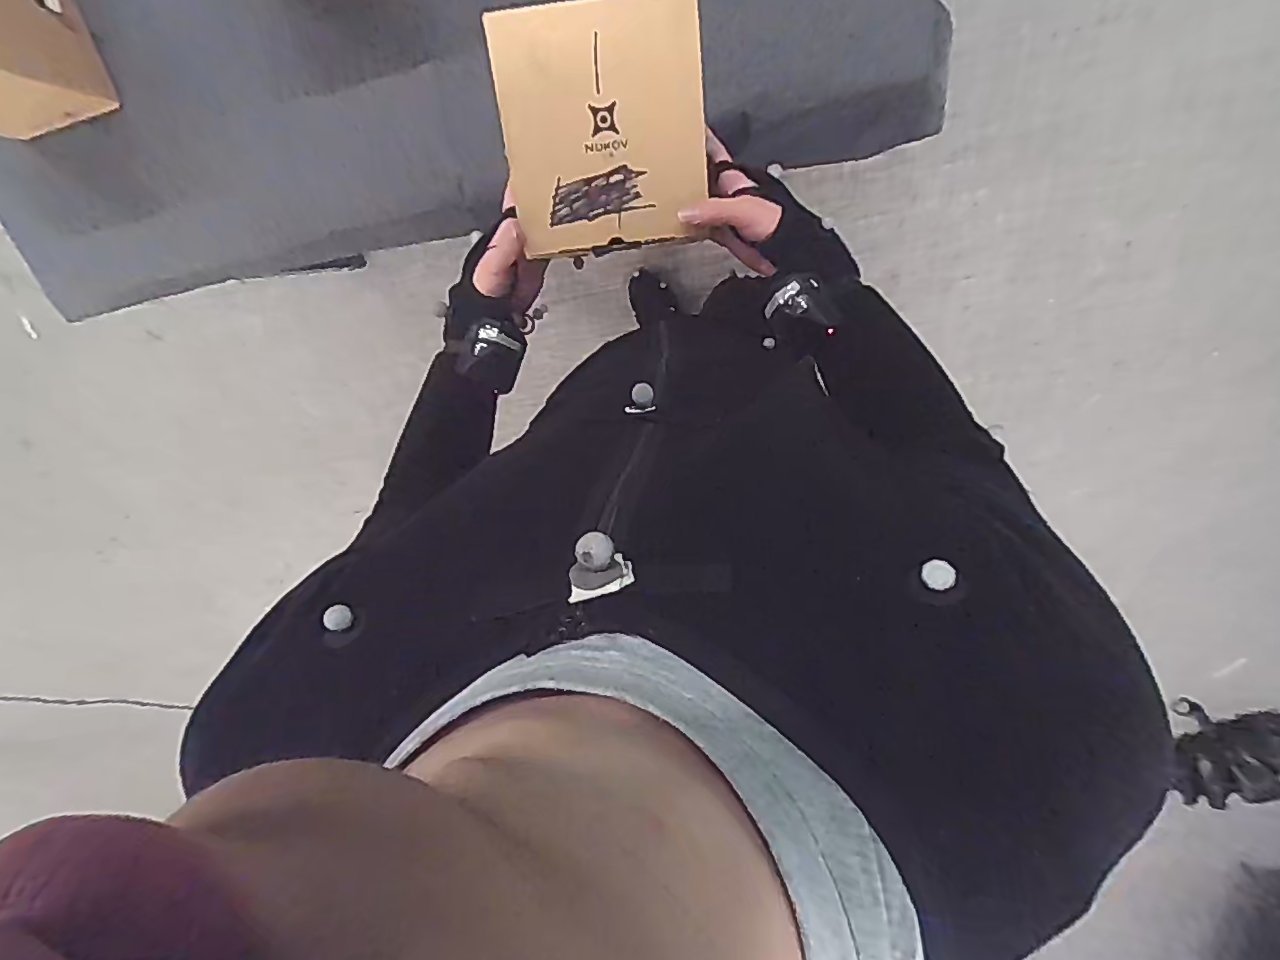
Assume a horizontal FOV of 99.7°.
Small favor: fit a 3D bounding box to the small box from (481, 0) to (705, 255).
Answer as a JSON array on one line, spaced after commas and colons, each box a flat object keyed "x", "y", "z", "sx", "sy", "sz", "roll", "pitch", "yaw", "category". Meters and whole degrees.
[{"x": -0.031, "y": -0.314, "z": 0.508, "sx": 0.168, "sy": 0.176, "sz": 0.179, "roll": -5, "pitch": 112, "yaw": 2, "category": "small box"}]

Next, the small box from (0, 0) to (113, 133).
[{"x": -0.746, "y": -0.501, "z": 0.575, "sx": 0.168, "sy": 0.176, "sz": 0.179, "roll": -10, "pitch": 112, "yaw": 9, "category": "small box"}]
